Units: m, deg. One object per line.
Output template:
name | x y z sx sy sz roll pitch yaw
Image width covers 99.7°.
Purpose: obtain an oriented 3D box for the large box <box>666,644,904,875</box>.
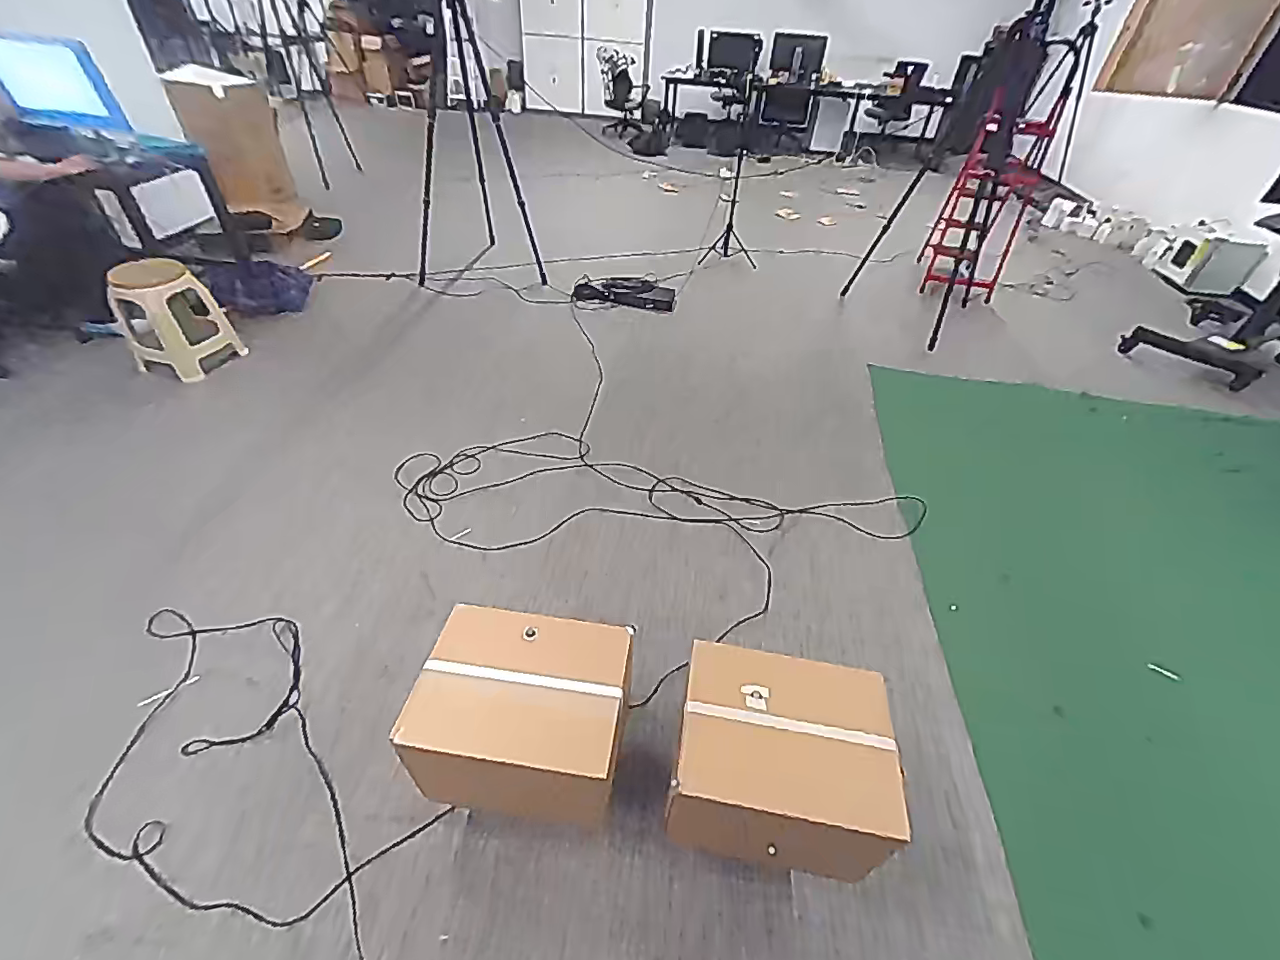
large box | 0.282 0.597 1.158 0.408 0.320 0.320 9 42 6
